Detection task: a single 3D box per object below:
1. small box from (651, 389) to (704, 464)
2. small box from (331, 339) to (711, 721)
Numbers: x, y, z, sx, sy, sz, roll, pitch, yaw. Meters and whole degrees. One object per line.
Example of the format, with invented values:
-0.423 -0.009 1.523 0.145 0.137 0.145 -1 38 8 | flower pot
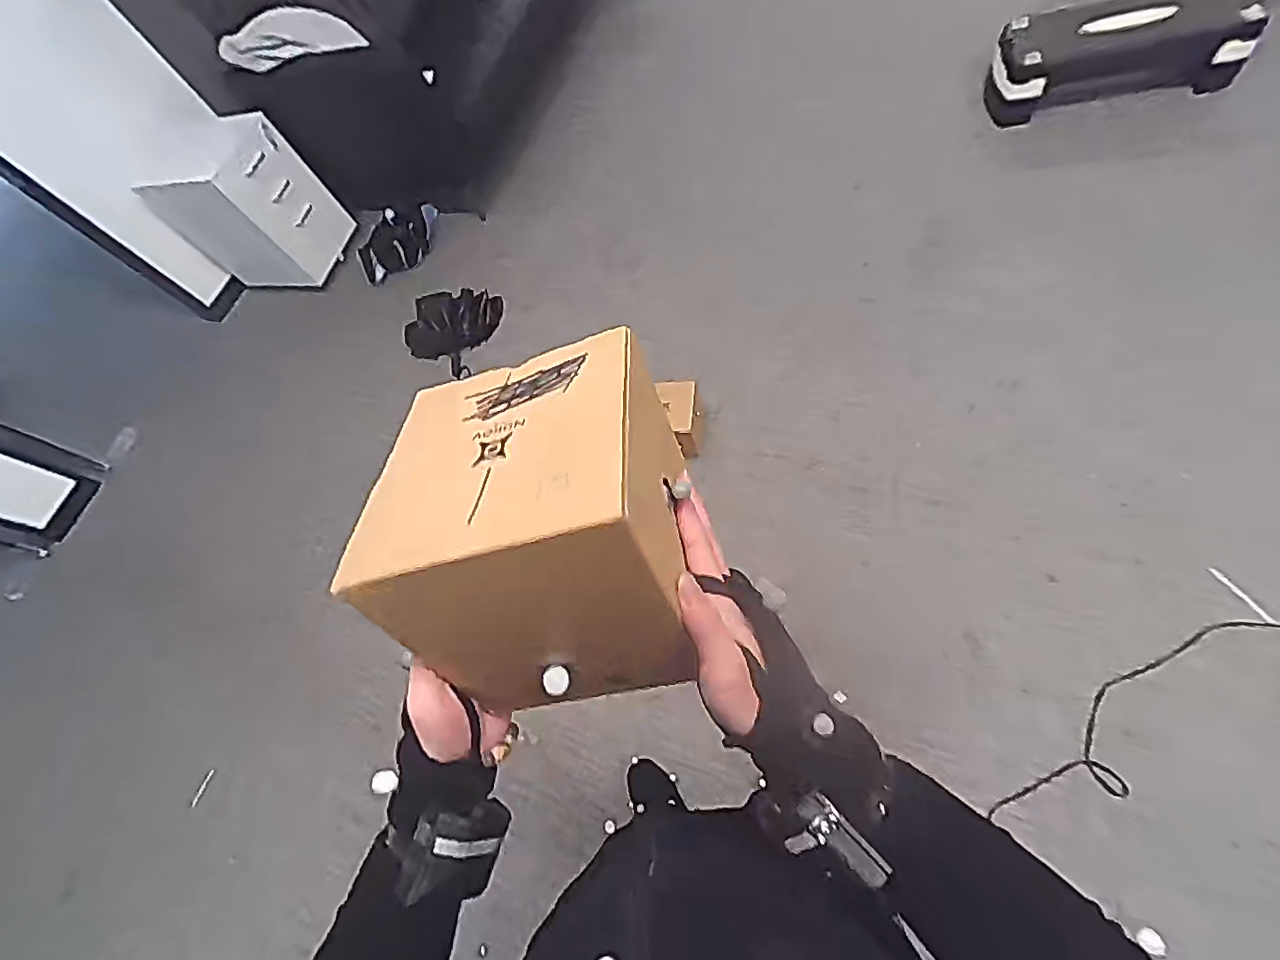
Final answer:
0.103 -0.159 1.683 0.168 0.176 0.179 -1 63 16 | small box
-0.056 0.038 0.370 0.168 0.176 0.179 -15 44 14 | small box
